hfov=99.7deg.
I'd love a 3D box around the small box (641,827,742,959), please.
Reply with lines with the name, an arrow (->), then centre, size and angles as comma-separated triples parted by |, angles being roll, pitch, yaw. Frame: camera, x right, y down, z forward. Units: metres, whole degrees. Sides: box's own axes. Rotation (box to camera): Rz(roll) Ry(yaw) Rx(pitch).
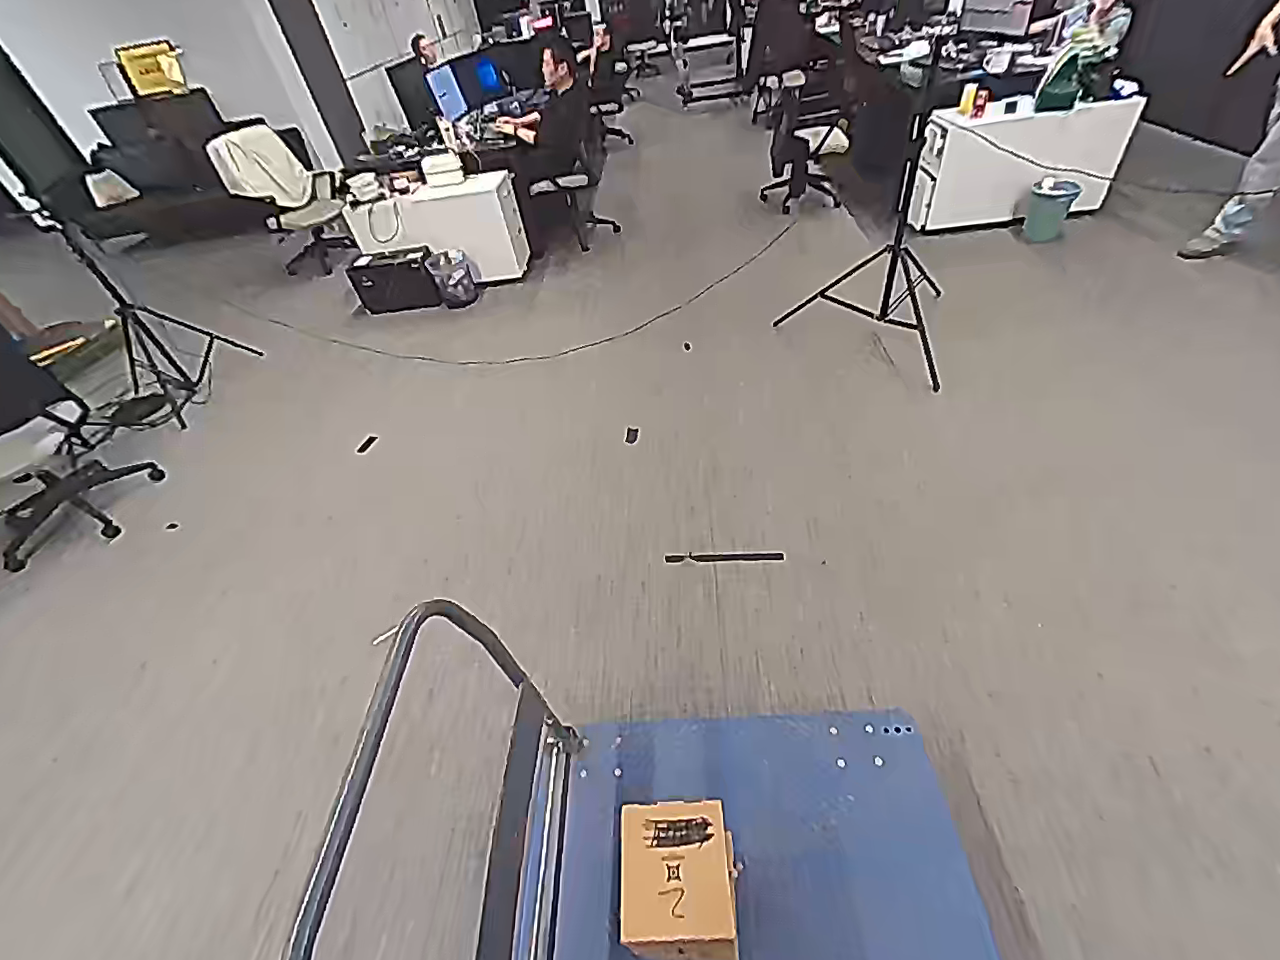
small box -> 0.098, 0.759, 0.985 | 0.168, 0.176, 0.179 | -3, 44, 8
